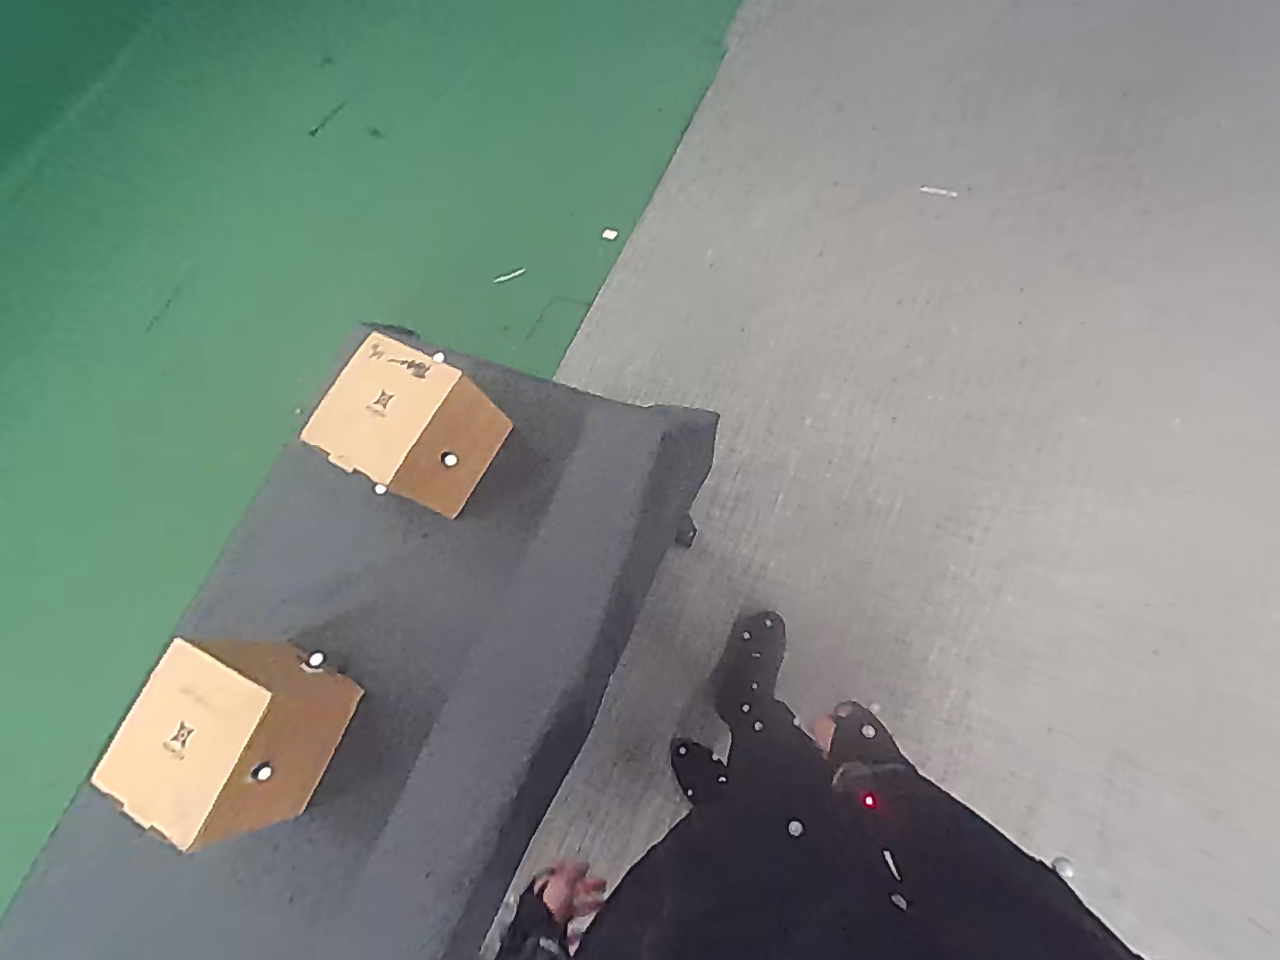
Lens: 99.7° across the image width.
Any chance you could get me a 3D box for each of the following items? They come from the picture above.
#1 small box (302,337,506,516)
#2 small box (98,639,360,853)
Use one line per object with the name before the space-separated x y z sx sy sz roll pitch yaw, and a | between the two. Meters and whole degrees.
small box | -0.323 -0.067 0.778 0.168 0.176 0.179 26 79 17
small box | -0.502 0.321 0.690 0.168 0.176 0.179 19 76 15
